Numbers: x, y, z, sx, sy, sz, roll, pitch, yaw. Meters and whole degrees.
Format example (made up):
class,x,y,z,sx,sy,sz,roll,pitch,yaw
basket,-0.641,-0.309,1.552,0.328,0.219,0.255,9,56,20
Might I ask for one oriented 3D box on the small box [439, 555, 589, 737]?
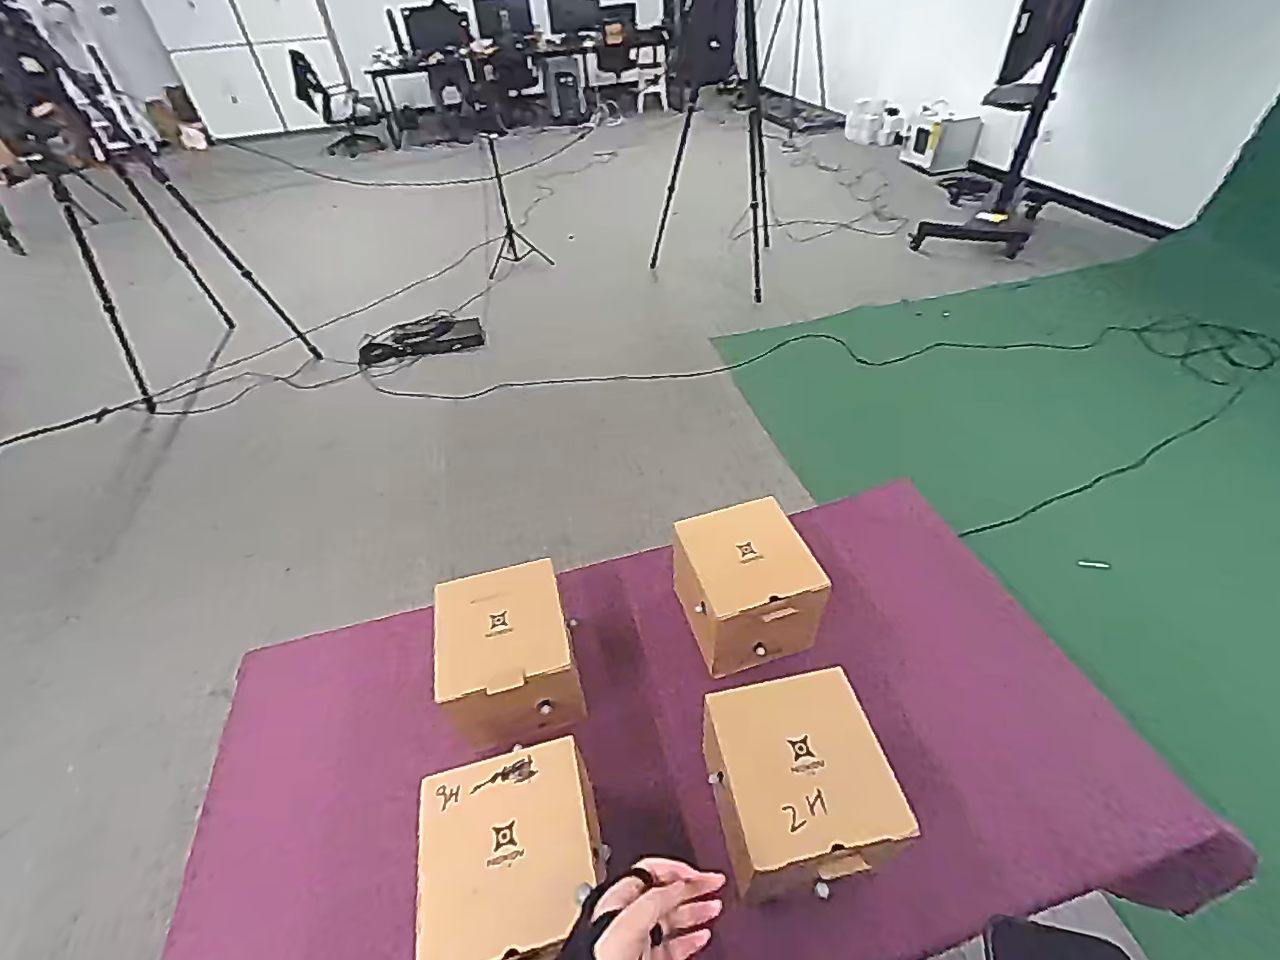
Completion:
class,x,y,z,sx,sy,sz,roll,pitch,yaw
small box,-0.174,0.240,0.763,0.168,0.176,0.179,-13,45,-9

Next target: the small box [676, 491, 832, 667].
class,x,y,z,sx,sy,sz,roll,pitch,yaw
small box,0.159,0.149,0.820,0.168,0.176,0.179,-16,46,-9

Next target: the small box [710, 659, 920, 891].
class,x,y,z,sx,sy,sz,roll,pitch,yaw
small box,0.180,0.339,0.625,0.168,0.176,0.179,-11,45,-4

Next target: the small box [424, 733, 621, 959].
class,x,y,z,sx,sy,sz,roll,pitch,yaw
small box,-0.121,0.410,0.585,0.168,0.176,0.179,-13,46,-8
